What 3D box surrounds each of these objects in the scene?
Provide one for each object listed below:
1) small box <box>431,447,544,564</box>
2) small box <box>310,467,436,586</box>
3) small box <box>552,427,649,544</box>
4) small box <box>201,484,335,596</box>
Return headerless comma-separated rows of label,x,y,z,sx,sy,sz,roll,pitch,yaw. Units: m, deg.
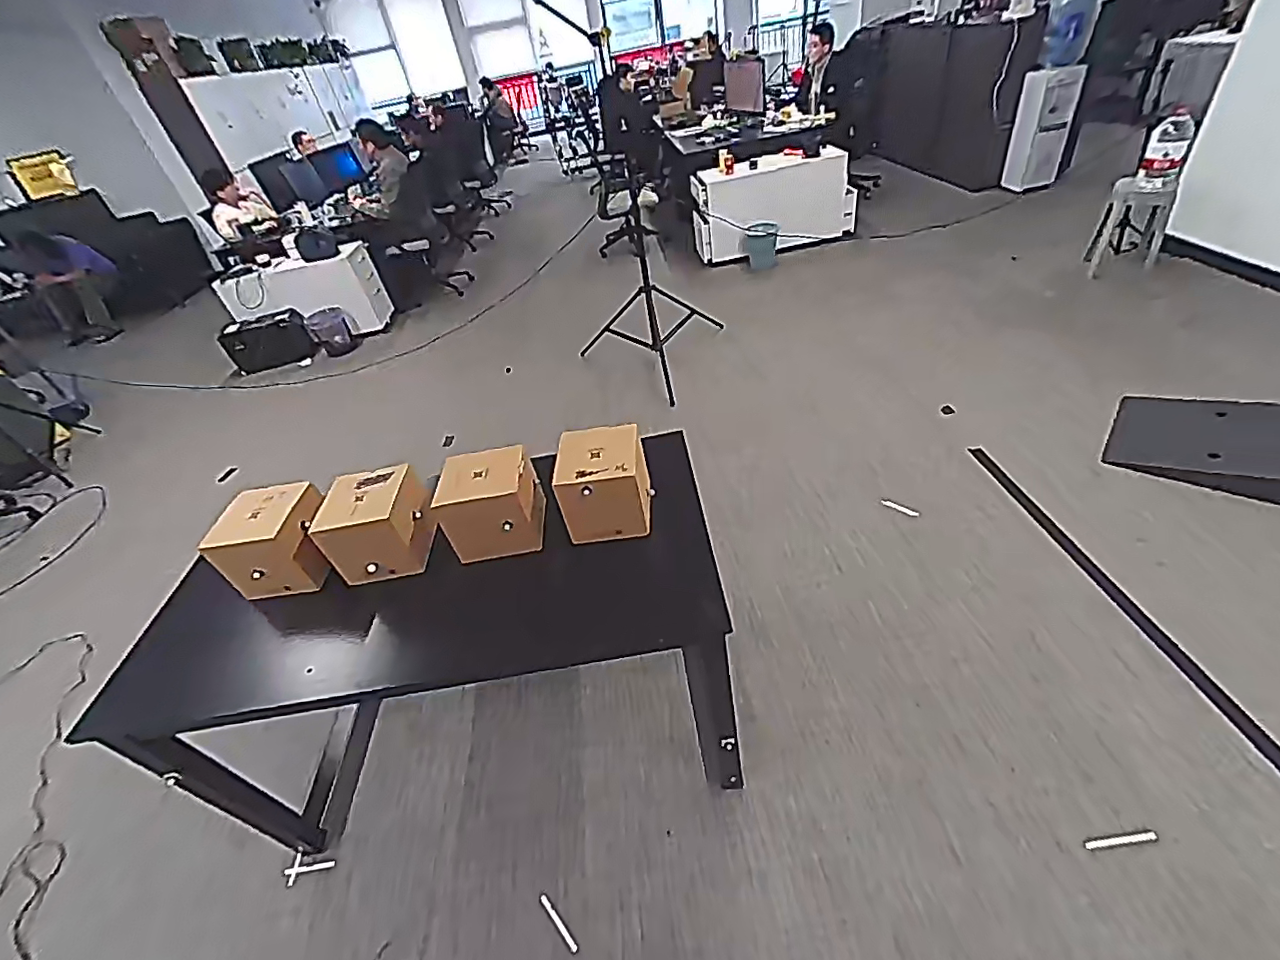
small box,-0.312,0.056,1.153,0.179,0.176,0.168,-11,38,3
small box,-0.557,0.100,1.160,0.168,0.176,0.179,-11,41,1
small box,-0.075,0.012,1.141,0.168,0.176,0.179,-7,39,7
small box,-0.778,0.137,1.174,0.168,0.176,0.179,-8,39,4
